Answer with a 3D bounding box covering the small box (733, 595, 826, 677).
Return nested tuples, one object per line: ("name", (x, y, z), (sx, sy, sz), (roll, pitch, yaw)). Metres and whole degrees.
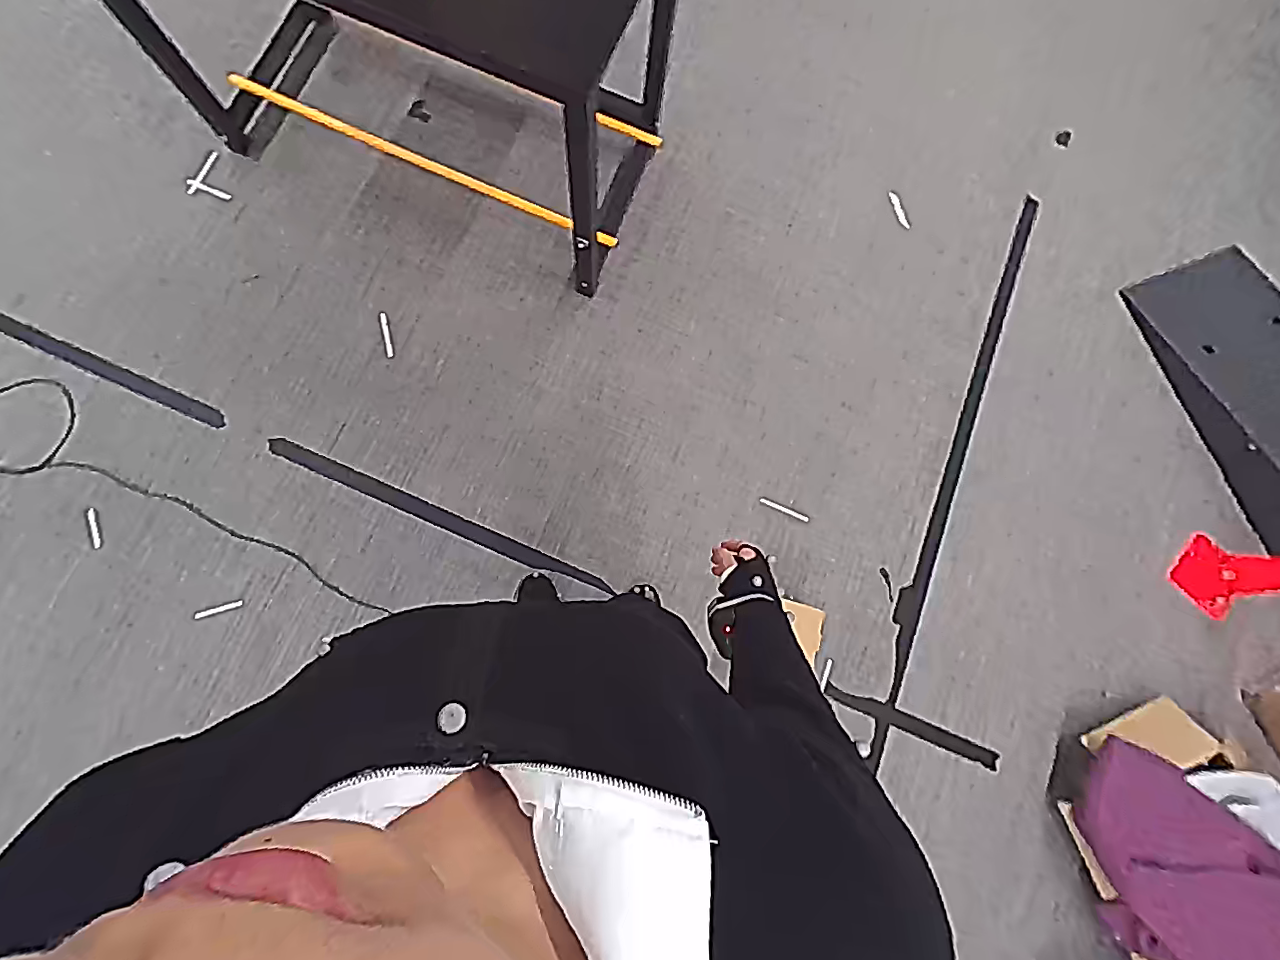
("small box", (0.364, 0.404, 1.434), (0.179, 0.176, 0.168), (16, 79, 0))
